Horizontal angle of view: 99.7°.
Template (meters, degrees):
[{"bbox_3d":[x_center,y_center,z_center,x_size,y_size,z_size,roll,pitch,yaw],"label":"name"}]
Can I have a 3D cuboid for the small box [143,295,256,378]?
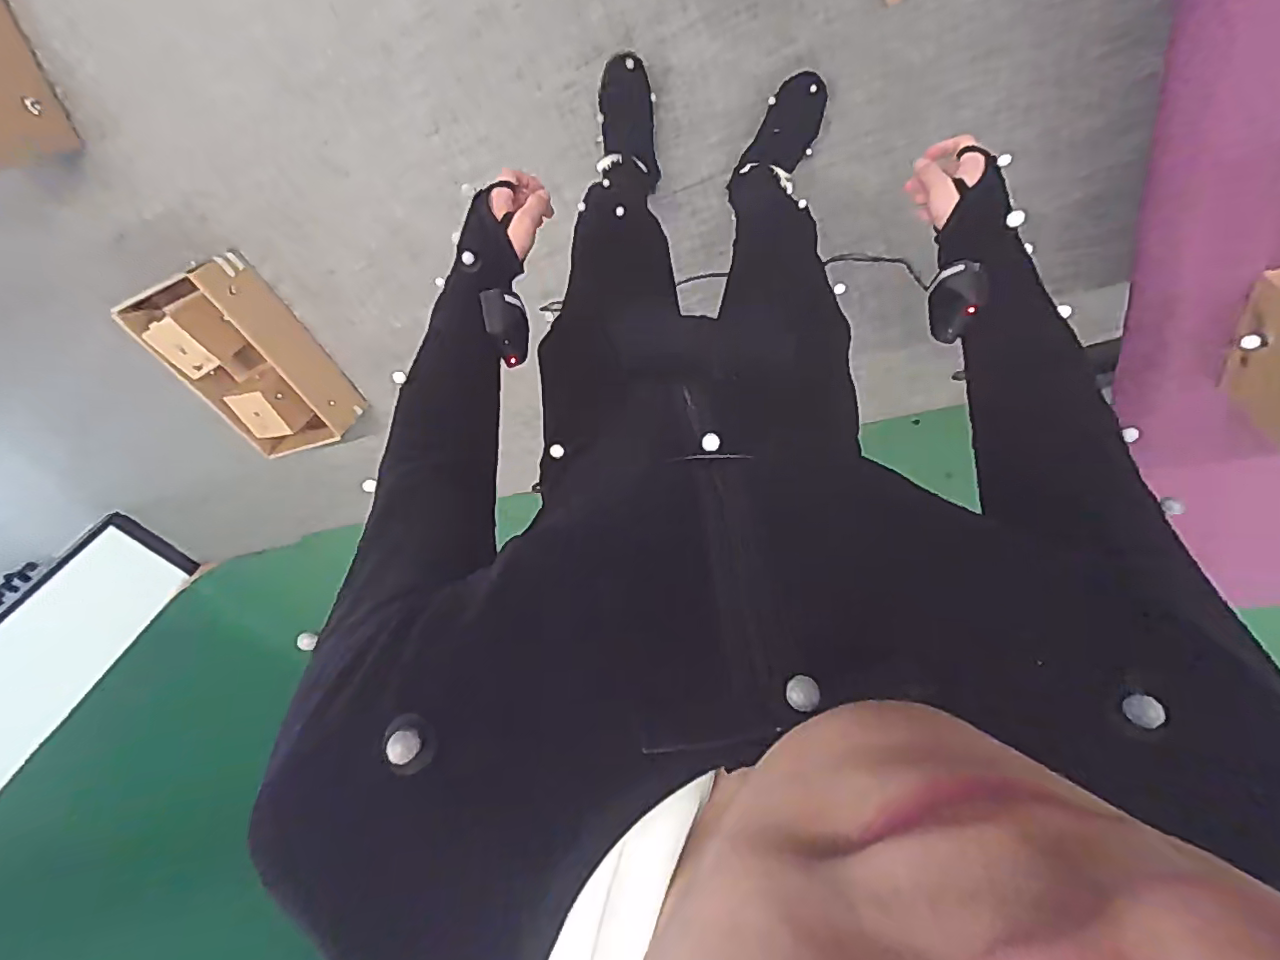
[{"bbox_3d":[-1.368,-0.455,1.690,0.168,0.176,0.179,-15,130,25],"label":"small box"}]

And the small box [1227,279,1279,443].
[{"bbox_3d":[0.771,-0.125,0.542,0.179,0.176,0.168,-10,130,22],"label":"small box"}]
